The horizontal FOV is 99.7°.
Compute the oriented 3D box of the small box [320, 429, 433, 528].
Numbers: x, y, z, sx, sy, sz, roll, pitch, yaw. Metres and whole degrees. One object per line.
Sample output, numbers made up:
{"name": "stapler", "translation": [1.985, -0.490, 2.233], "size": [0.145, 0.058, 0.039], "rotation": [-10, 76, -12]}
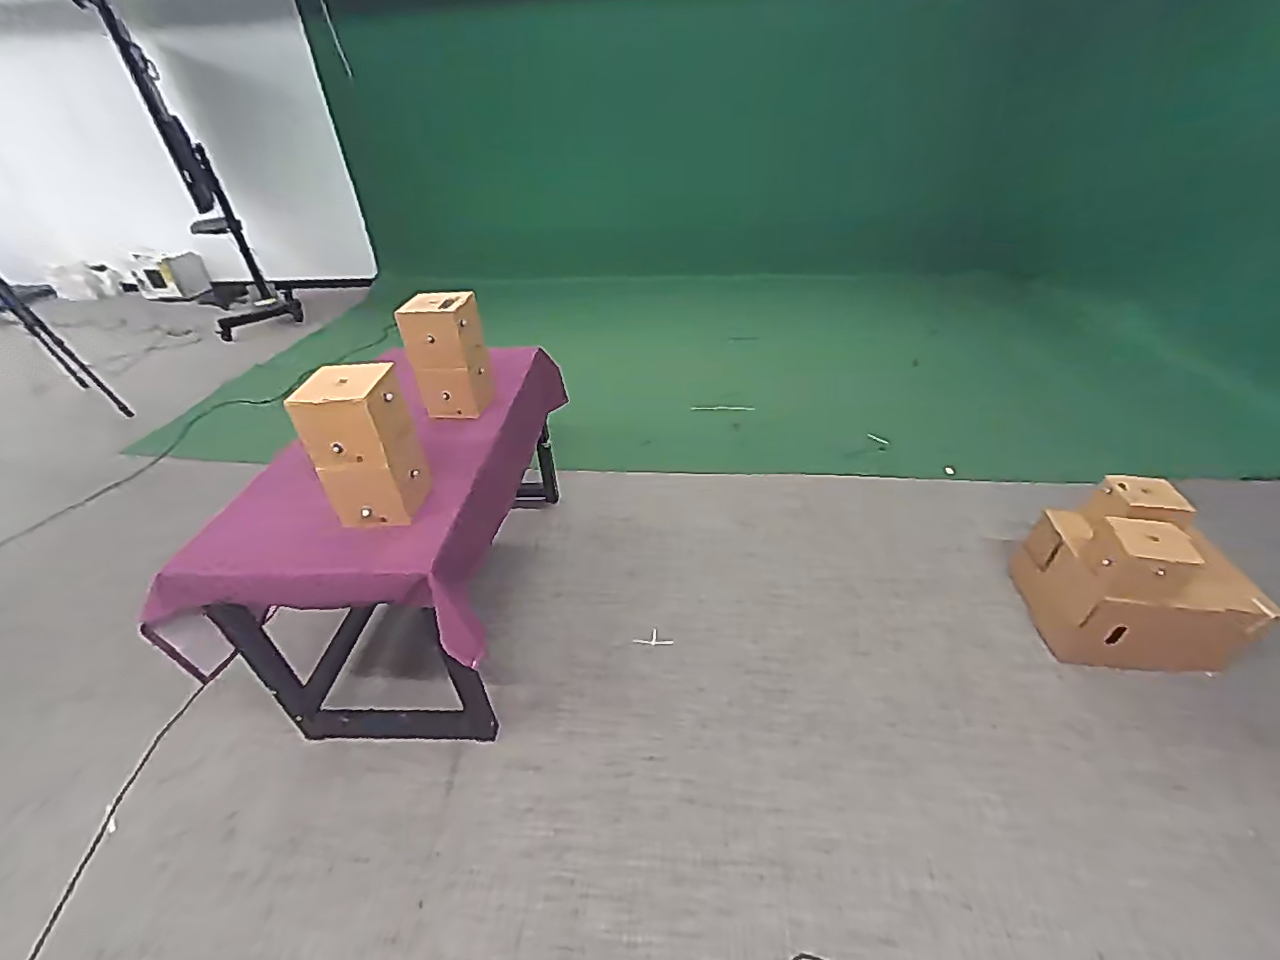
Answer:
{"name": "small box", "translation": [-0.612, -0.005, 1.284], "size": [0.168, 0.176, 0.179], "rotation": [-3, 37, 2]}

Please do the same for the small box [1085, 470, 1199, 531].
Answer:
{"name": "small box", "translation": [1.556, 0.093, 1.690], "size": [0.179, 0.176, 0.168], "rotation": [7, 36, 10]}

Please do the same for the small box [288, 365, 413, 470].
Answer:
{"name": "small box", "translation": [-0.622, -0.139, 1.192], "size": [0.168, 0.176, 0.179], "rotation": [-3, 37, 1]}

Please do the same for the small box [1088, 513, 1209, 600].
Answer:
{"name": "small box", "translation": [1.415, 0.218, 1.527], "size": [0.179, 0.176, 0.168], "rotation": [7, 39, 11]}

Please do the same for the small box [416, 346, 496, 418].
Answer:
{"name": "small box", "translation": [-0.565, -0.306, 1.690], "size": [0.168, 0.176, 0.179], "rotation": [2, 37, 7]}
